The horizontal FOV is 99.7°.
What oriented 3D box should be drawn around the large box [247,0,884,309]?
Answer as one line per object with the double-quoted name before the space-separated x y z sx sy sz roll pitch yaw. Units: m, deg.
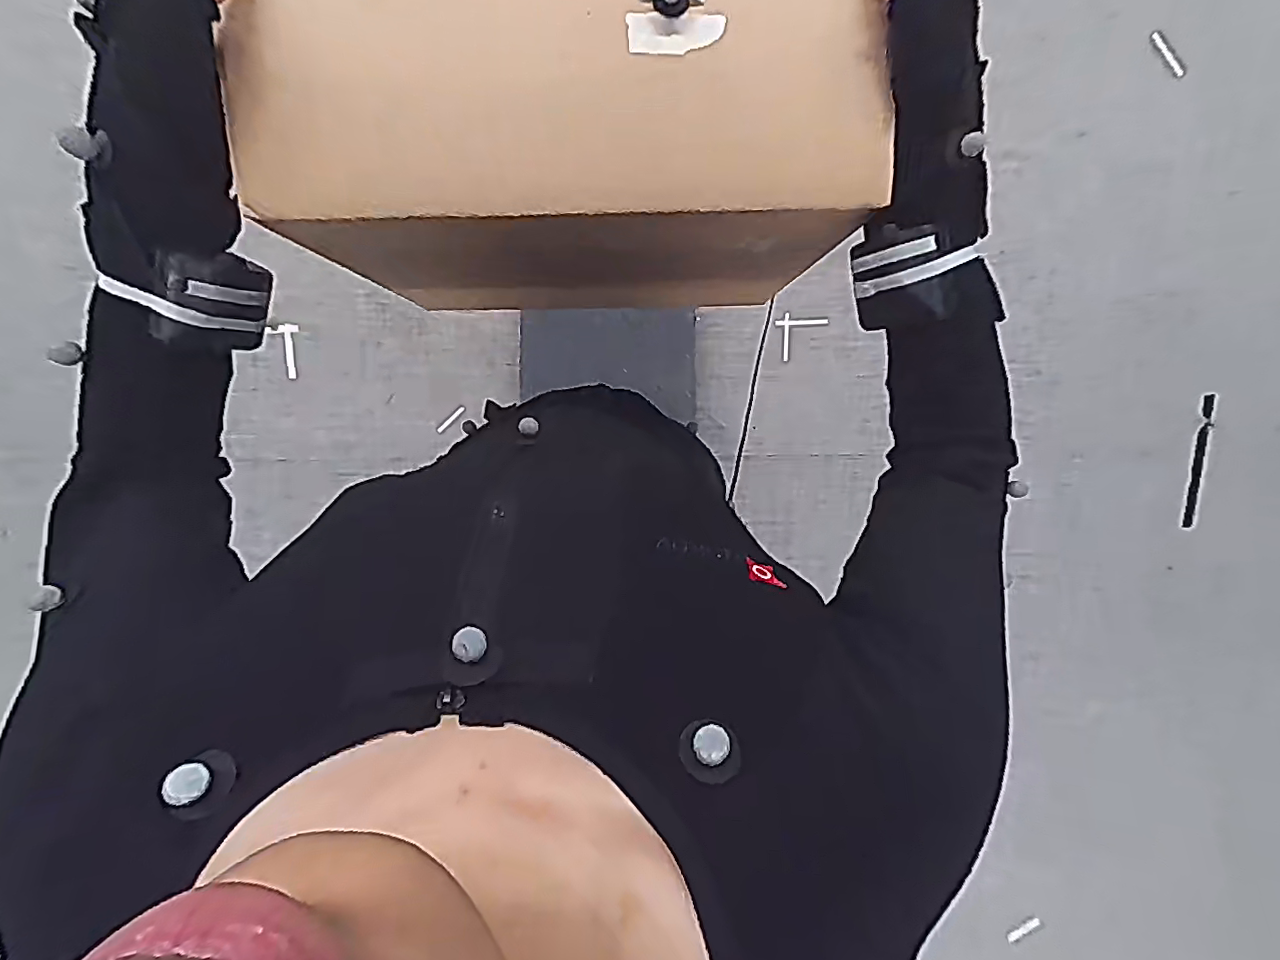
"large box" -0.050 -0.346 0.482 0.408 0.320 0.320 -2 97 -2
